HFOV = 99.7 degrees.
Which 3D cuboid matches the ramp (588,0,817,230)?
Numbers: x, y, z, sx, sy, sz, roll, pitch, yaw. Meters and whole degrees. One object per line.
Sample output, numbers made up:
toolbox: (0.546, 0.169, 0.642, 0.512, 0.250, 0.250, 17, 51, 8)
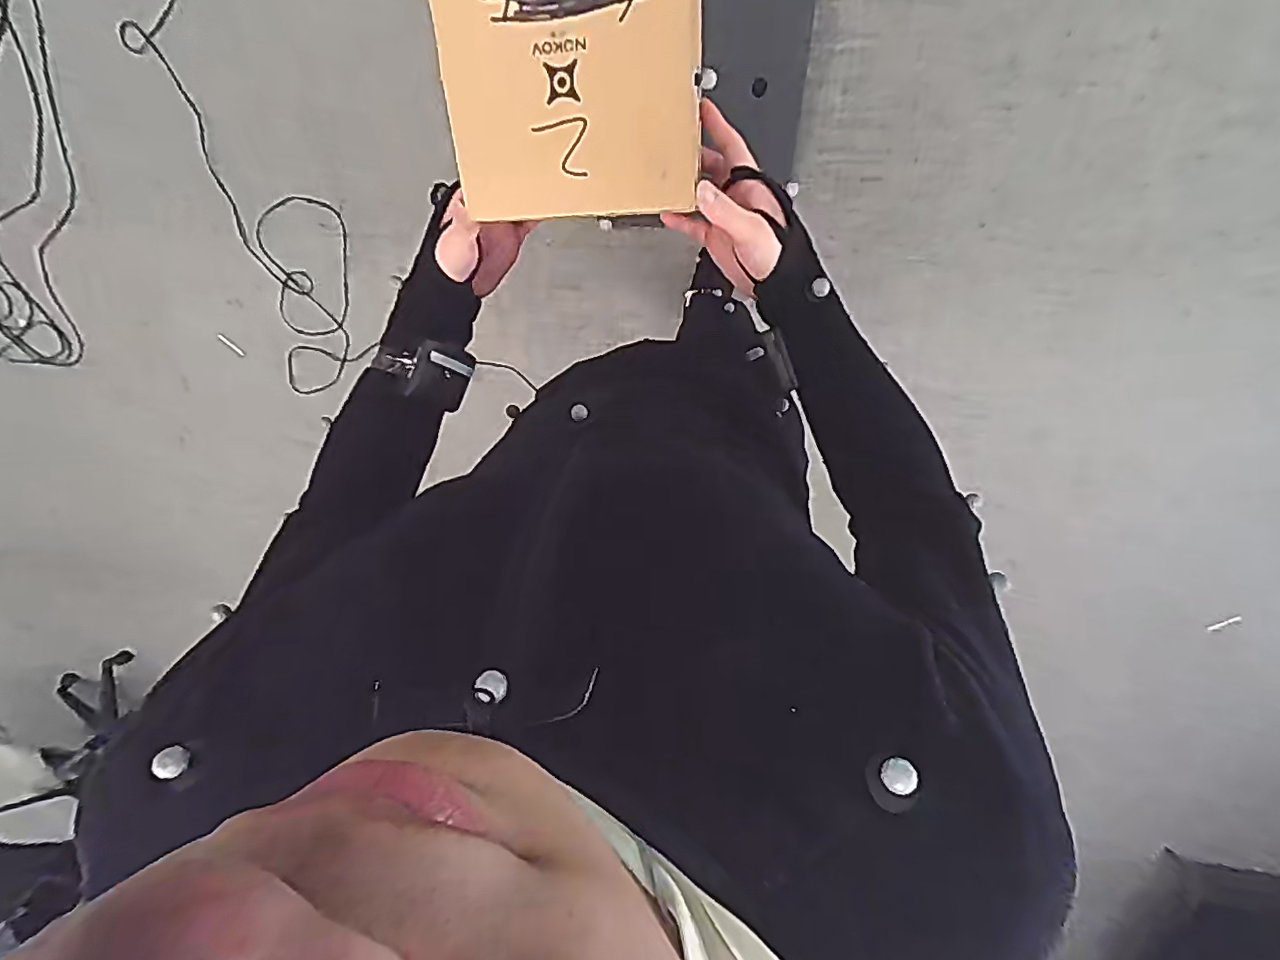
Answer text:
ramp: (0.131, -1.069, 1.128, 0.509, 0.206, 0.991, 2, 113, 6)
